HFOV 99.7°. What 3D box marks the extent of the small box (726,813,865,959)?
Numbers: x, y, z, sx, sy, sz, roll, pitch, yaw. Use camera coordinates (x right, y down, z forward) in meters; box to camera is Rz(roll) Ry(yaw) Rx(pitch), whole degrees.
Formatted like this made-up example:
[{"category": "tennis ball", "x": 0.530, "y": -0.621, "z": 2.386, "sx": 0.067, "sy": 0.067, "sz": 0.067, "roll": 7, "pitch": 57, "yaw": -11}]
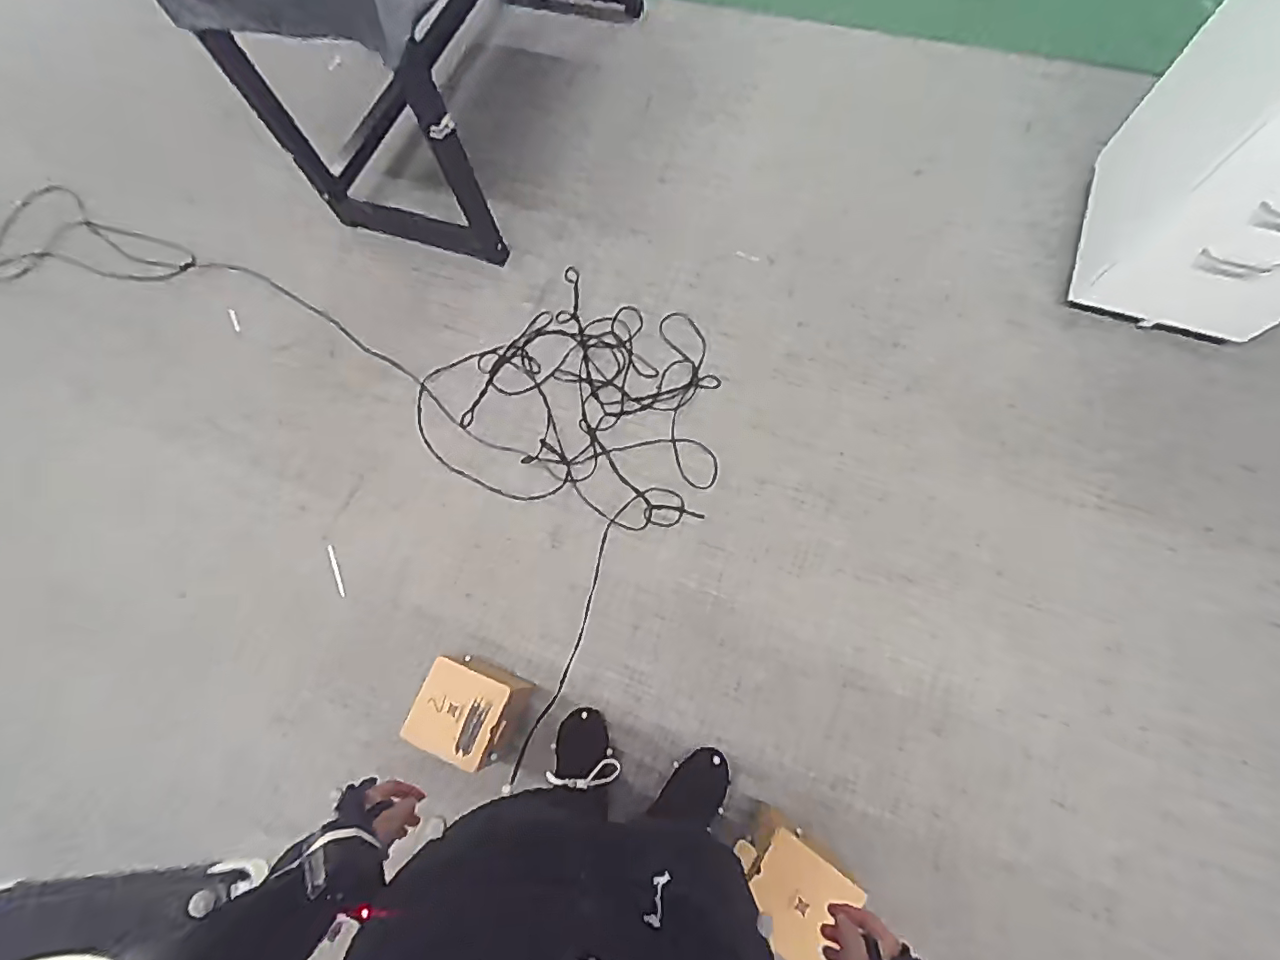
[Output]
[{"category": "small box", "x": 0.275, "y": 0.756, "z": 0.996, "sx": 0.179, "sy": 0.176, "sz": 0.168, "roll": 32, "pitch": 77, "yaw": 14}]
